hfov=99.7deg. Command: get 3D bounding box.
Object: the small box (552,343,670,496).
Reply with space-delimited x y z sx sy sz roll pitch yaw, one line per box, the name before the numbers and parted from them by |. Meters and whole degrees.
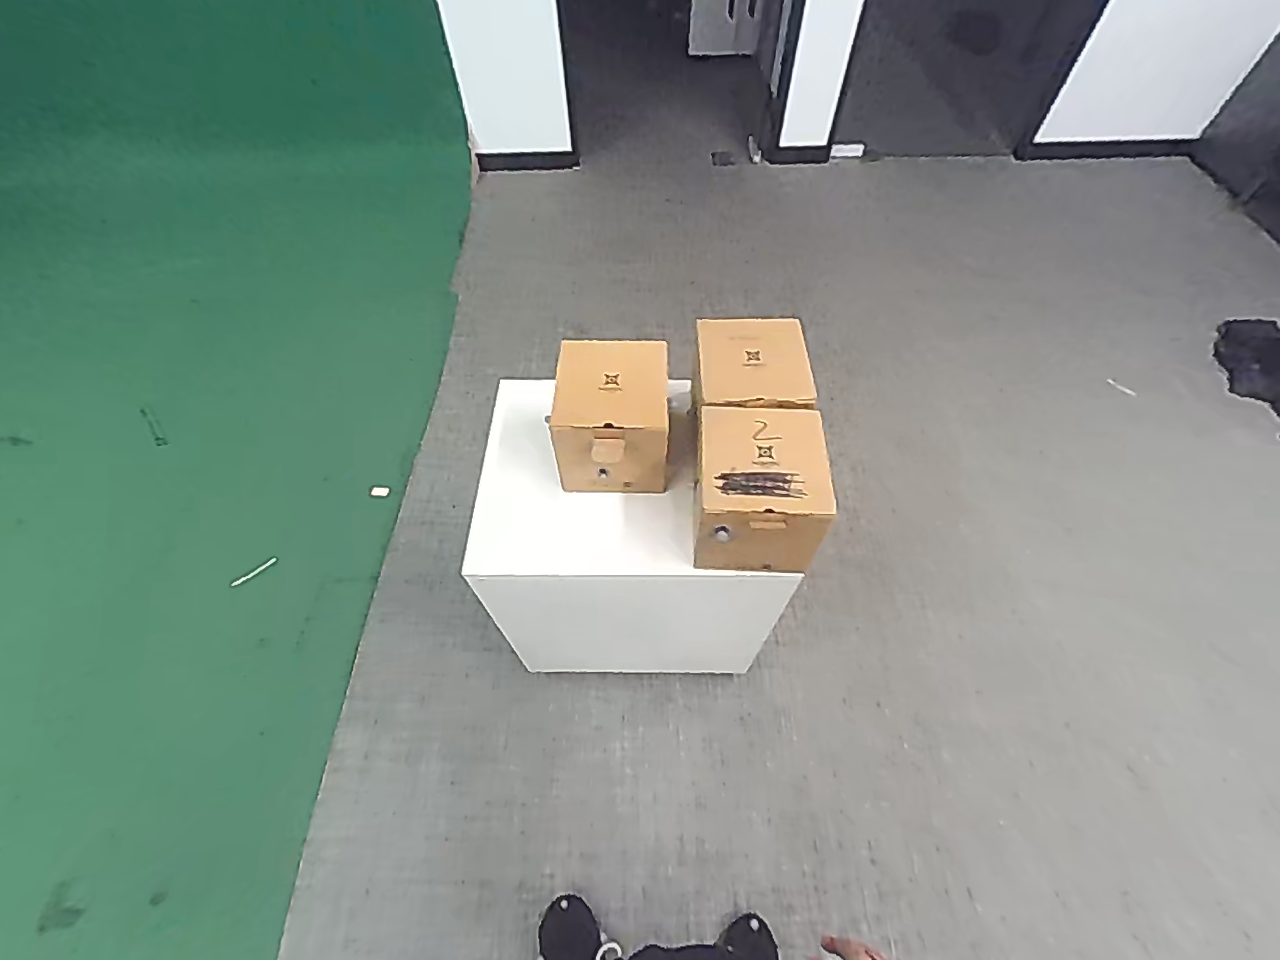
small box | -0.039 -0.094 0.855 0.168 0.176 0.179 0 56 1
